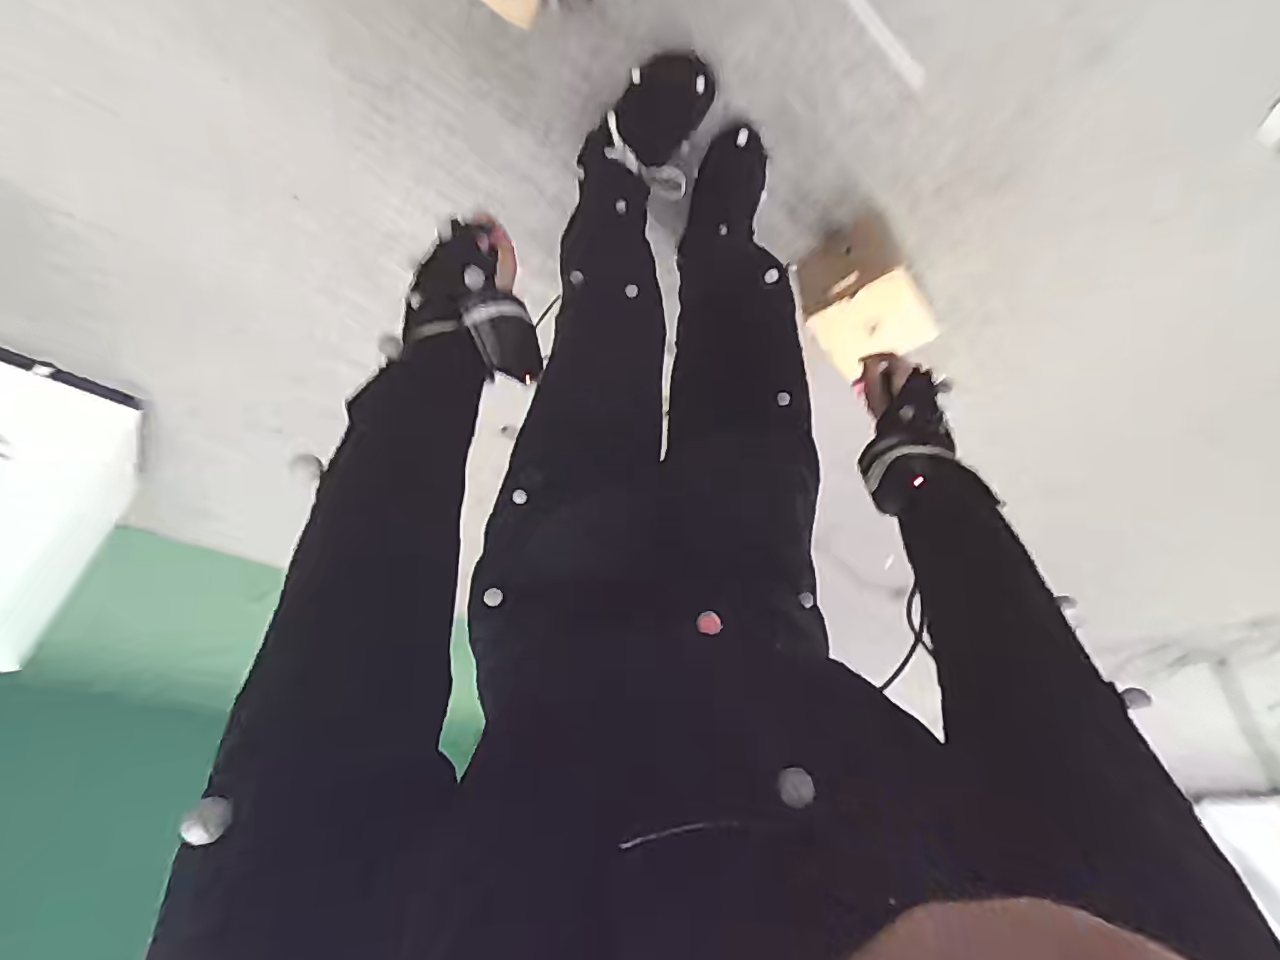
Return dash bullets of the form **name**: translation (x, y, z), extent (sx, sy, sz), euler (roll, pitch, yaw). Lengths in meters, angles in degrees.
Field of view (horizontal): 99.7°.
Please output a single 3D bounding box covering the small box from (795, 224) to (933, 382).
- **small box**: translation (0.399, -0.317, 0.977), extent (0.168, 0.176, 0.179), euler (-26, 135, 34)
